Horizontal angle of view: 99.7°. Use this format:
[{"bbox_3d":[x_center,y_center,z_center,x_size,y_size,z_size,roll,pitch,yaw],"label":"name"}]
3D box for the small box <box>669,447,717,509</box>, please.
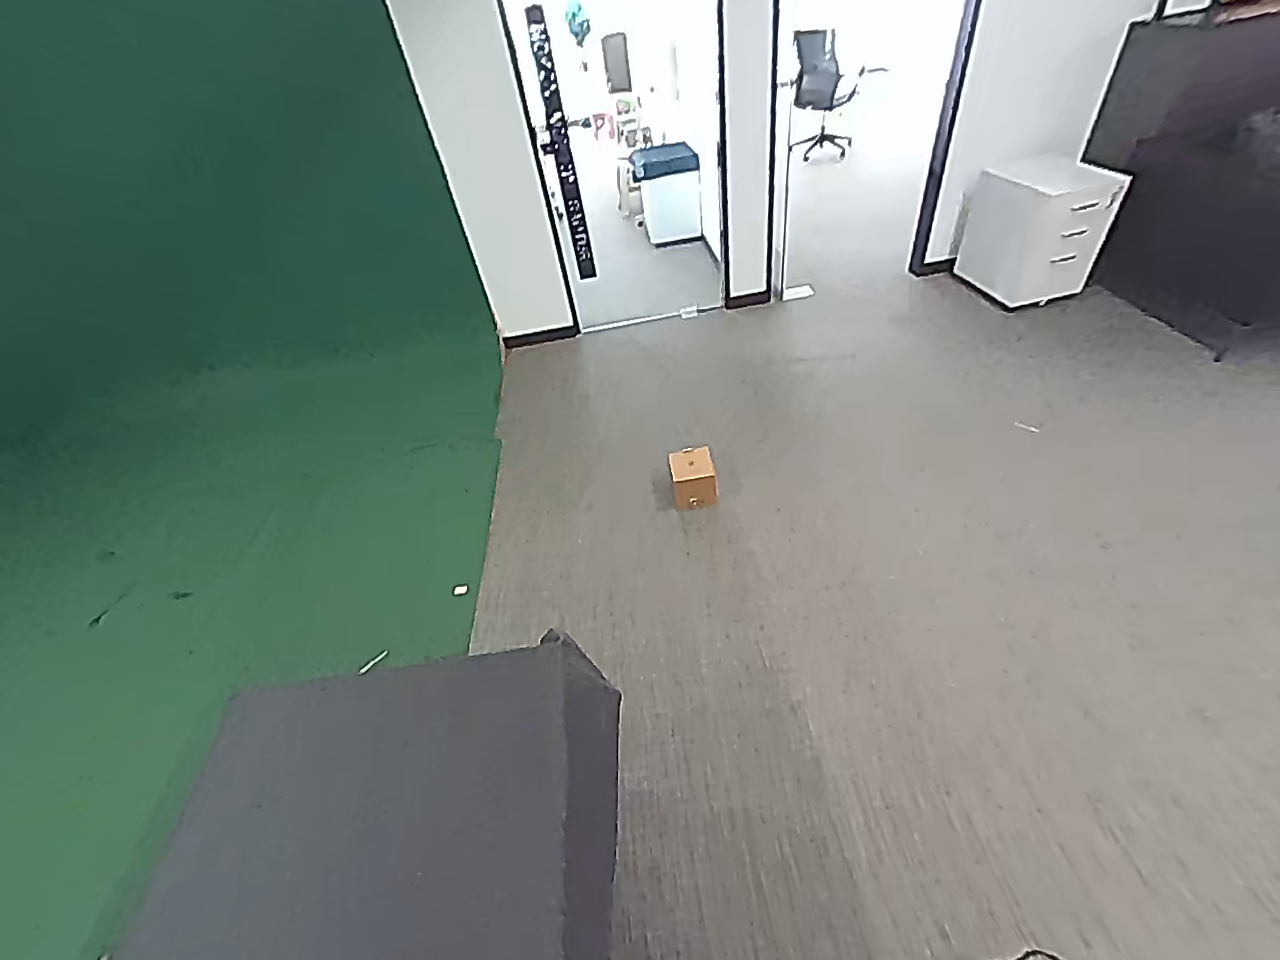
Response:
[{"bbox_3d":[0.214,-0.005,2.184,0.168,0.176,0.179,-9,42,4],"label":"small box"}]
